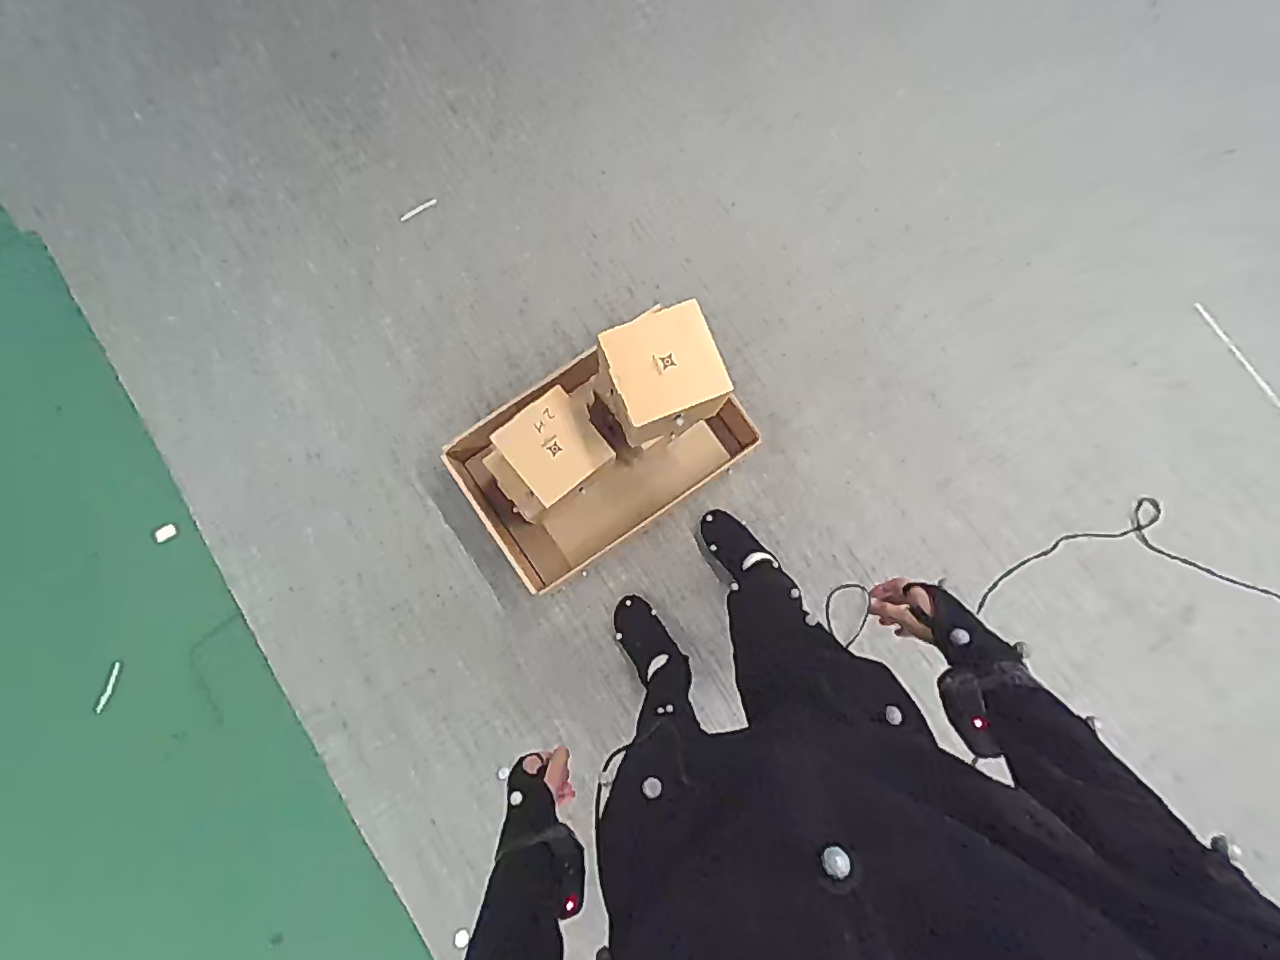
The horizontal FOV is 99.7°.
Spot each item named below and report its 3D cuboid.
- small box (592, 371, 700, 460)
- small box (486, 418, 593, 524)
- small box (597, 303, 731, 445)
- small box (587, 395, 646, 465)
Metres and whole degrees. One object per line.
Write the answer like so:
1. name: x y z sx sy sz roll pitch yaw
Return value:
1. small box: 0.021 -0.160 1.104 0.168 0.176 0.179 -37 85 -3
2. small box: -0.220 -0.011 1.246 0.179 0.176 0.168 -37 86 -8
3. small box: 0.036 -0.174 0.942 0.179 0.176 0.168 -22 85 -2
4. small box: 0.000 -0.154 1.268 0.179 0.176 0.168 -42 85 -5
